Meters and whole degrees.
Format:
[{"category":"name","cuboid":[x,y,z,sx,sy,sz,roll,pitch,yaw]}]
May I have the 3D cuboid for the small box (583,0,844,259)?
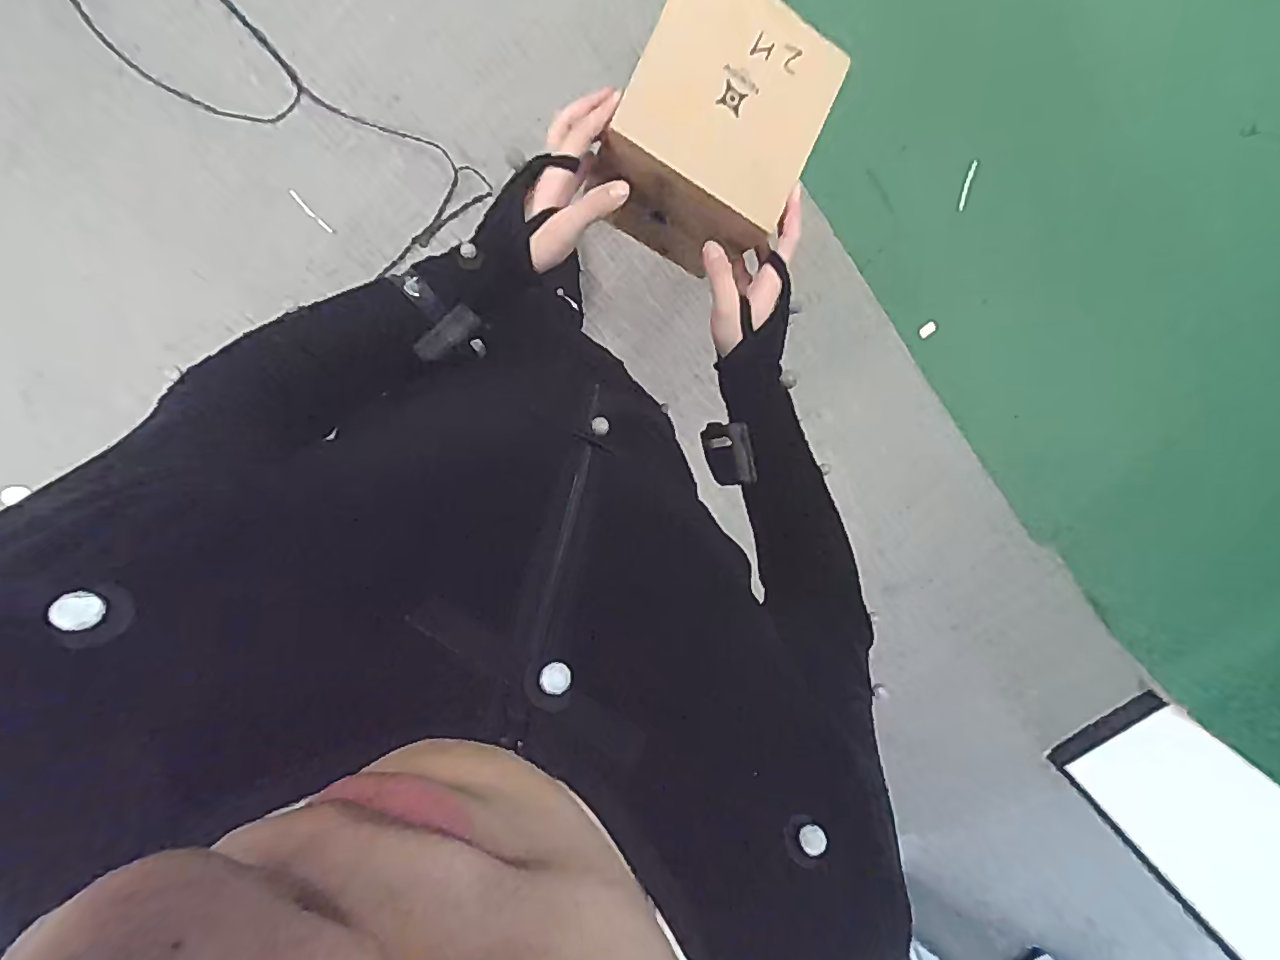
[{"category":"small box","cuboid":[0.054,-0.348,0.530,0.168,0.176,0.179,25,90,-17]}]
